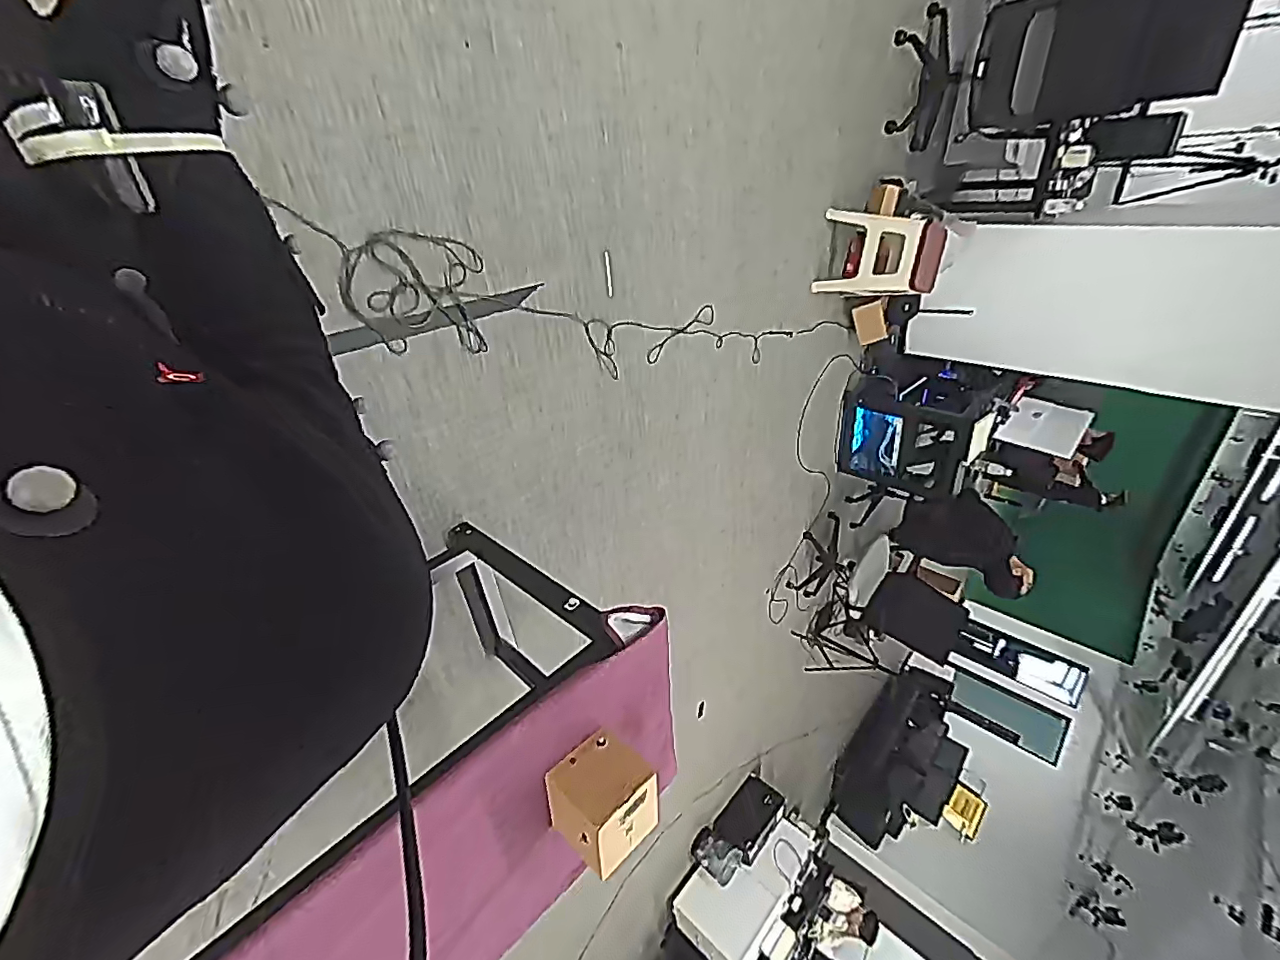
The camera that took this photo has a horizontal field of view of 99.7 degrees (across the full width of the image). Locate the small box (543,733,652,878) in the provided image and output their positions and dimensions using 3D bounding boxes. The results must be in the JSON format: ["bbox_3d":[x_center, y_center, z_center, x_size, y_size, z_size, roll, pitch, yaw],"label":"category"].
[{"bbox_3d":[-0.090,0.675,1.148,0.168,0.176,0.179,-25,125,-39],"label":"small box"}]
